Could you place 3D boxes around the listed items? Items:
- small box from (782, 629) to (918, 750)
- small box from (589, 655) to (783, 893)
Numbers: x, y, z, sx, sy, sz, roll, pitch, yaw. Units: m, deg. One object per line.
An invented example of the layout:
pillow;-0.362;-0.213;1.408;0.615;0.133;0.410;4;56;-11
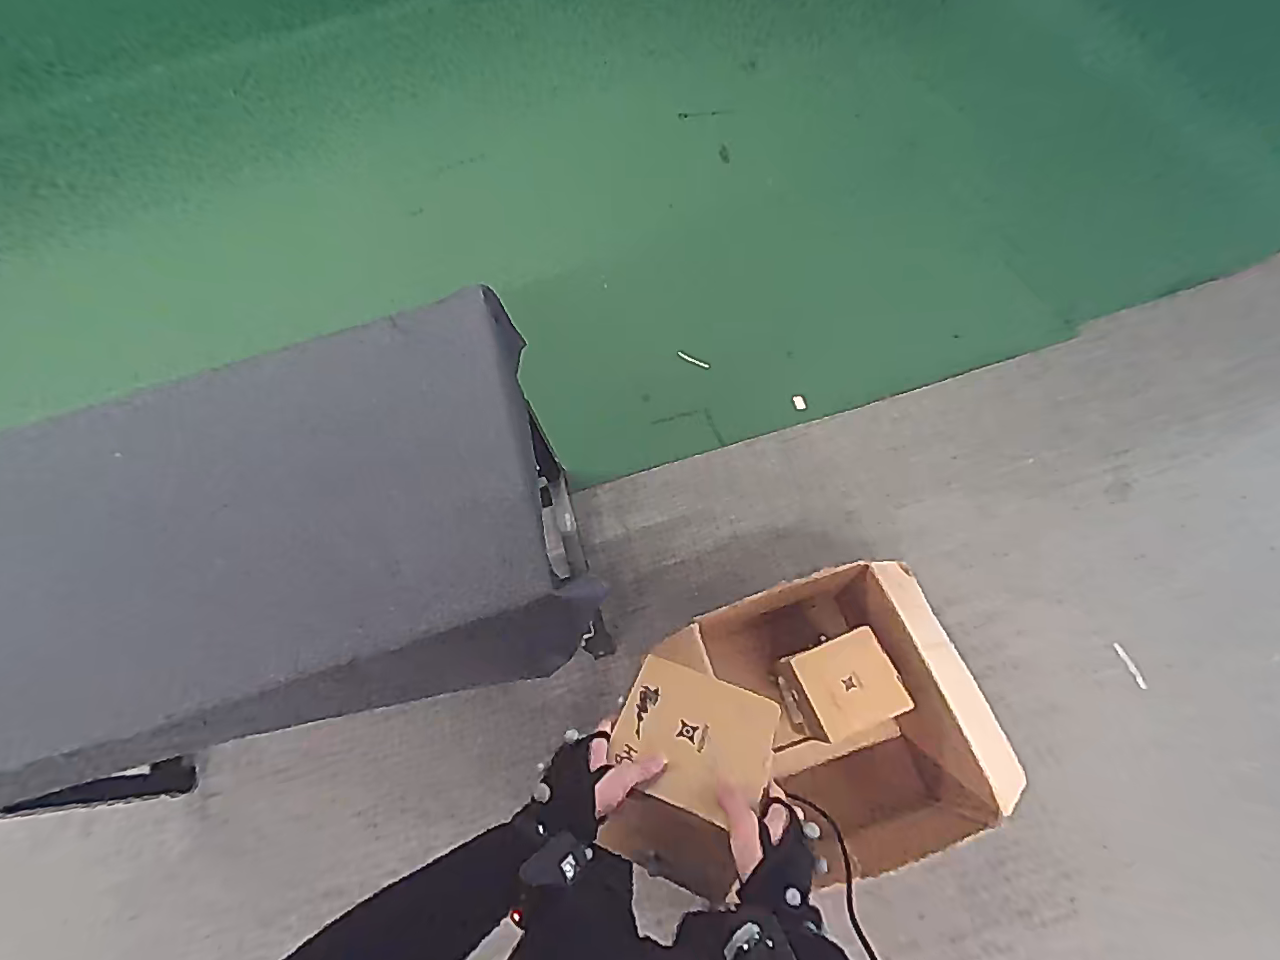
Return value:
small box;0.407;0.417;1.084;0.179;0.176;0.168;-24;66;-3
small box;0.053;0.354;0.652;0.179;0.176;0.168;18;35;13
